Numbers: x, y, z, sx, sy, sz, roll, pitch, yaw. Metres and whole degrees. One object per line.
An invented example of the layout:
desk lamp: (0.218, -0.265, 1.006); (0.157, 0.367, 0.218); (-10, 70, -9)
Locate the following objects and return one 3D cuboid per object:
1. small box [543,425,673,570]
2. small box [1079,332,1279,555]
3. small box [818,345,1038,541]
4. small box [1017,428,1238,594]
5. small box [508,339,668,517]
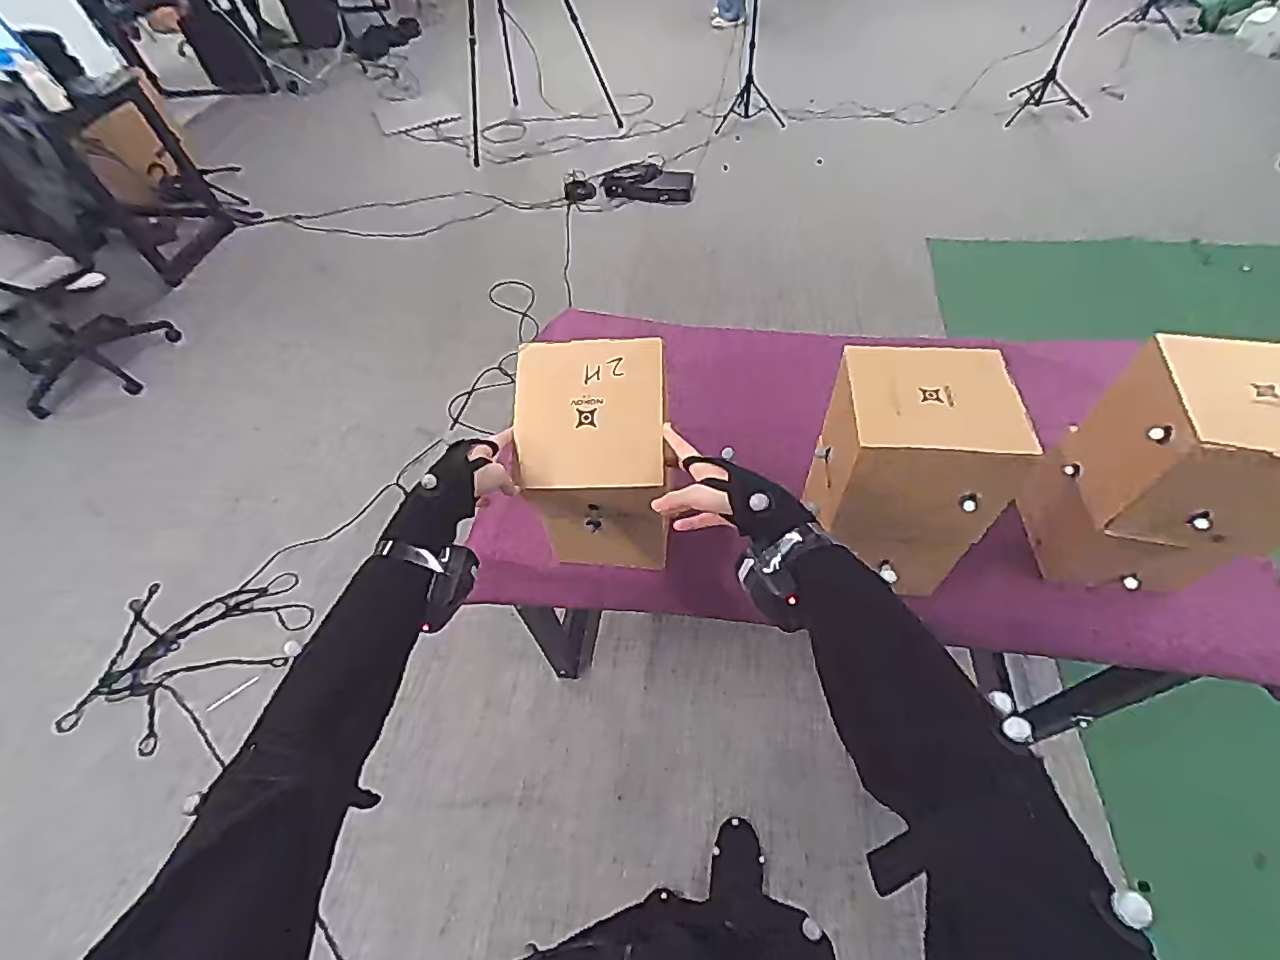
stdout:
small box: (-0.044, 0.027, 0.838); (0.179, 0.176, 0.168); (3, 52, 7)
small box: (0.647, -0.041, 0.618); (0.168, 0.176, 0.179); (9, 54, 14)
small box: (0.322, -0.041, 0.648); (0.179, 0.176, 0.168); (3, 50, 9)
small box: (0.677, 0.046, 0.756); (0.179, 0.176, 0.168); (3, 51, 9)
small box: (-0.052, -0.052, 0.667); (0.168, 0.176, 0.179); (-2, 73, 5)
